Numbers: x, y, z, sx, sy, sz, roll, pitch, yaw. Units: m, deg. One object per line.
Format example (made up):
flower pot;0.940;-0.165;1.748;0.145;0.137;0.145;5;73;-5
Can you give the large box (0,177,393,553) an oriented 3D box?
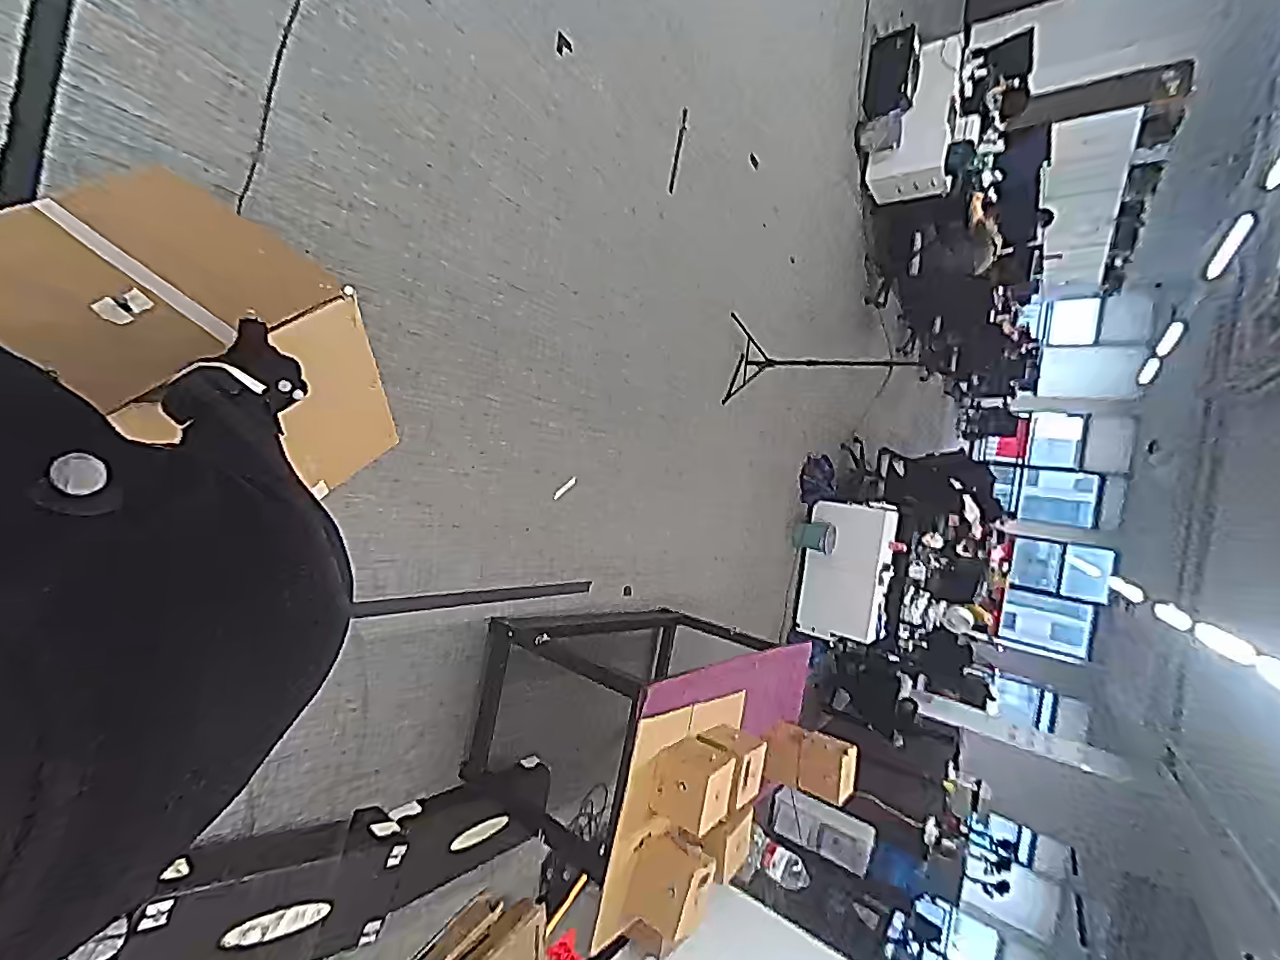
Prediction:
large box;-0.651;-0.169;0.798;0.320;0.408;0.320;-48;166;-33
